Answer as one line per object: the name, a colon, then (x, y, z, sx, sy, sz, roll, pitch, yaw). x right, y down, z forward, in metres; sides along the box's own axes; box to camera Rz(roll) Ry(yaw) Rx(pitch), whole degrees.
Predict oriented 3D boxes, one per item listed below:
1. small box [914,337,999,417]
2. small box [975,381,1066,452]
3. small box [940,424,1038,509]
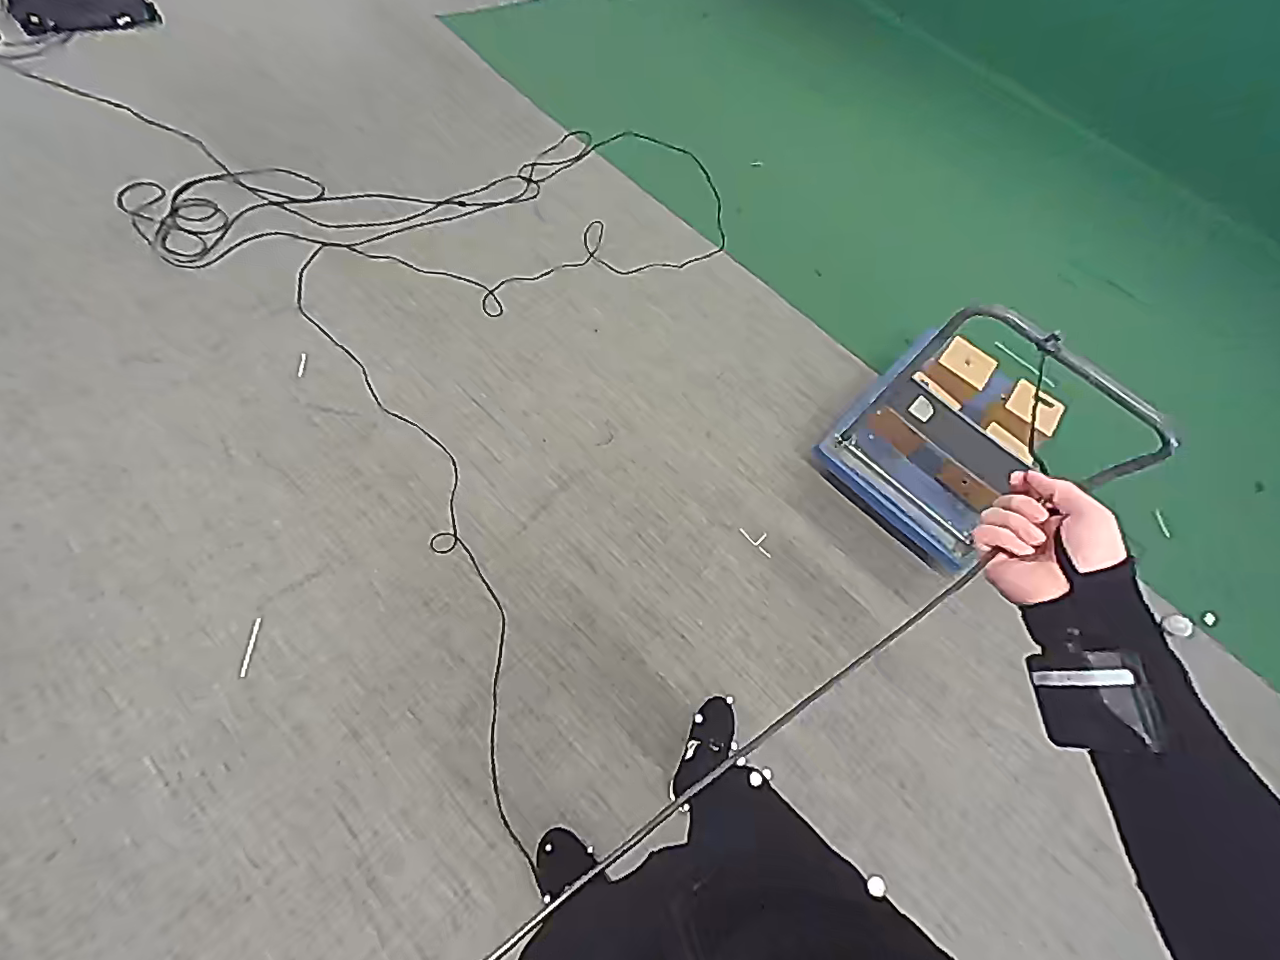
small box: (1.094, -0.353, 1.884, 0.168, 0.176, 0.179, 41, 62, 10)
small box: (1.284, -0.195, 1.837, 0.168, 0.176, 0.179, 40, 63, 12)
small box: (1.099, -0.039, 1.717, 0.179, 0.176, 0.168, -39, 76, -25)
